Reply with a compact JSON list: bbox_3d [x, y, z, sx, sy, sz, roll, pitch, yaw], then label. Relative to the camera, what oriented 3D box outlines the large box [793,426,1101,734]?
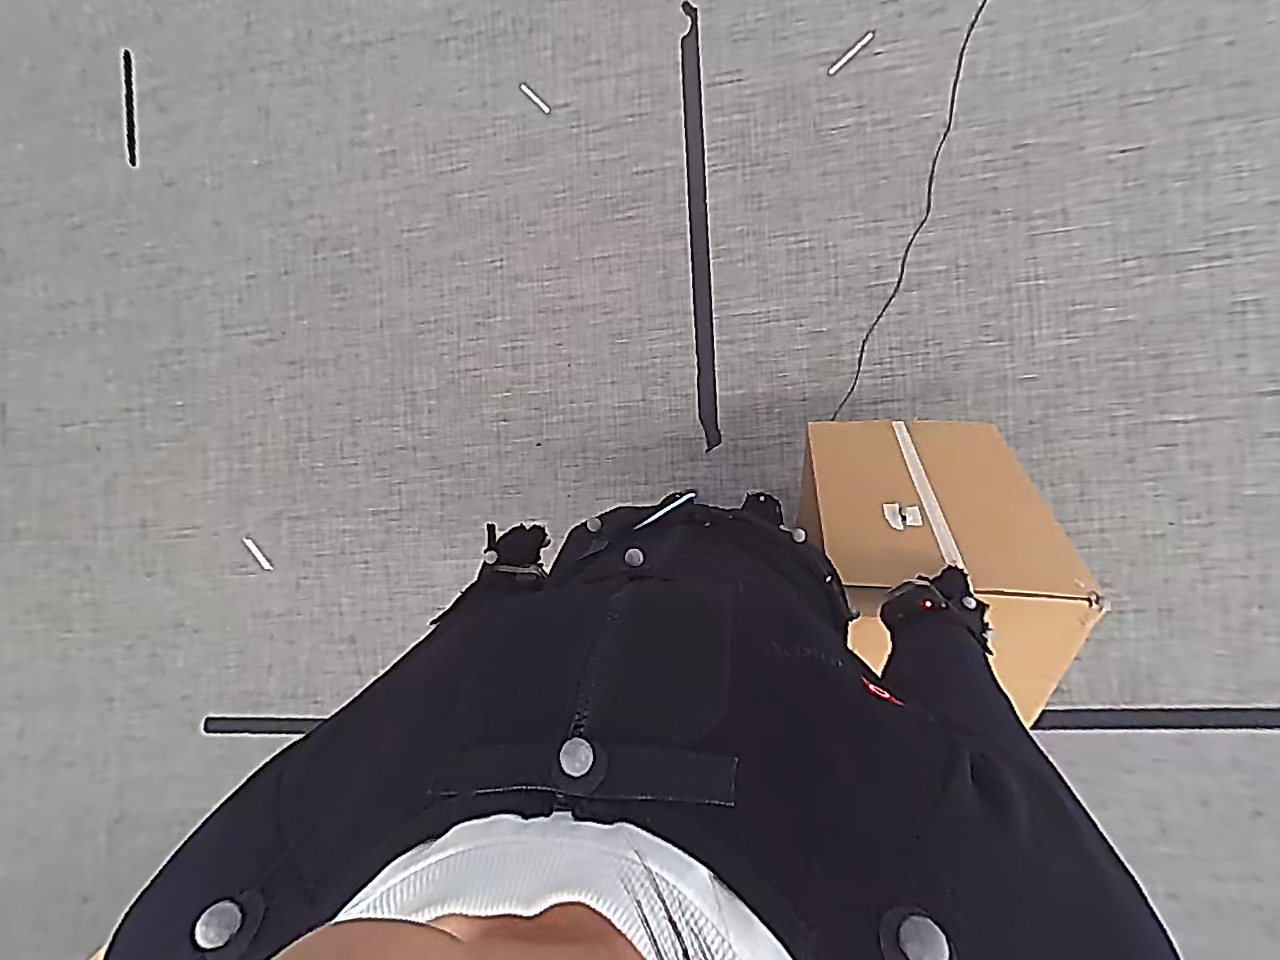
[{"bbox_3d":[0.442,0.146,0.911,0.320,0.408,0.320,1,128,11],"label":"large box"}]
